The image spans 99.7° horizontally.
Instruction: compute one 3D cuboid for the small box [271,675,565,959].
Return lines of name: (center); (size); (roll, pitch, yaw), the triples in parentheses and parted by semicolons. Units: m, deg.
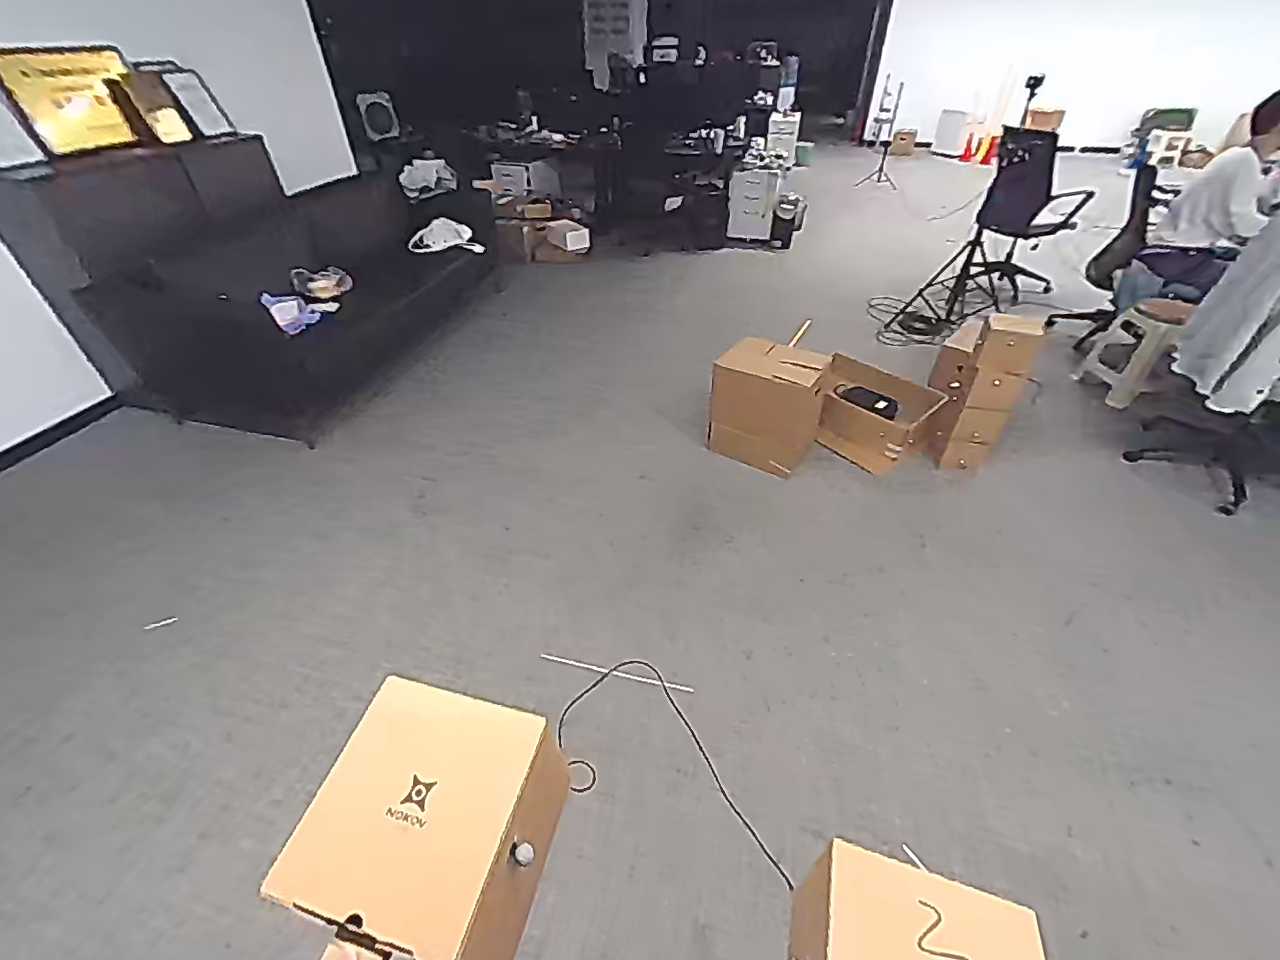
small box: (-0.179, 0.316, 0.506); (0.168, 0.176, 0.179); (9, 49, 13)
